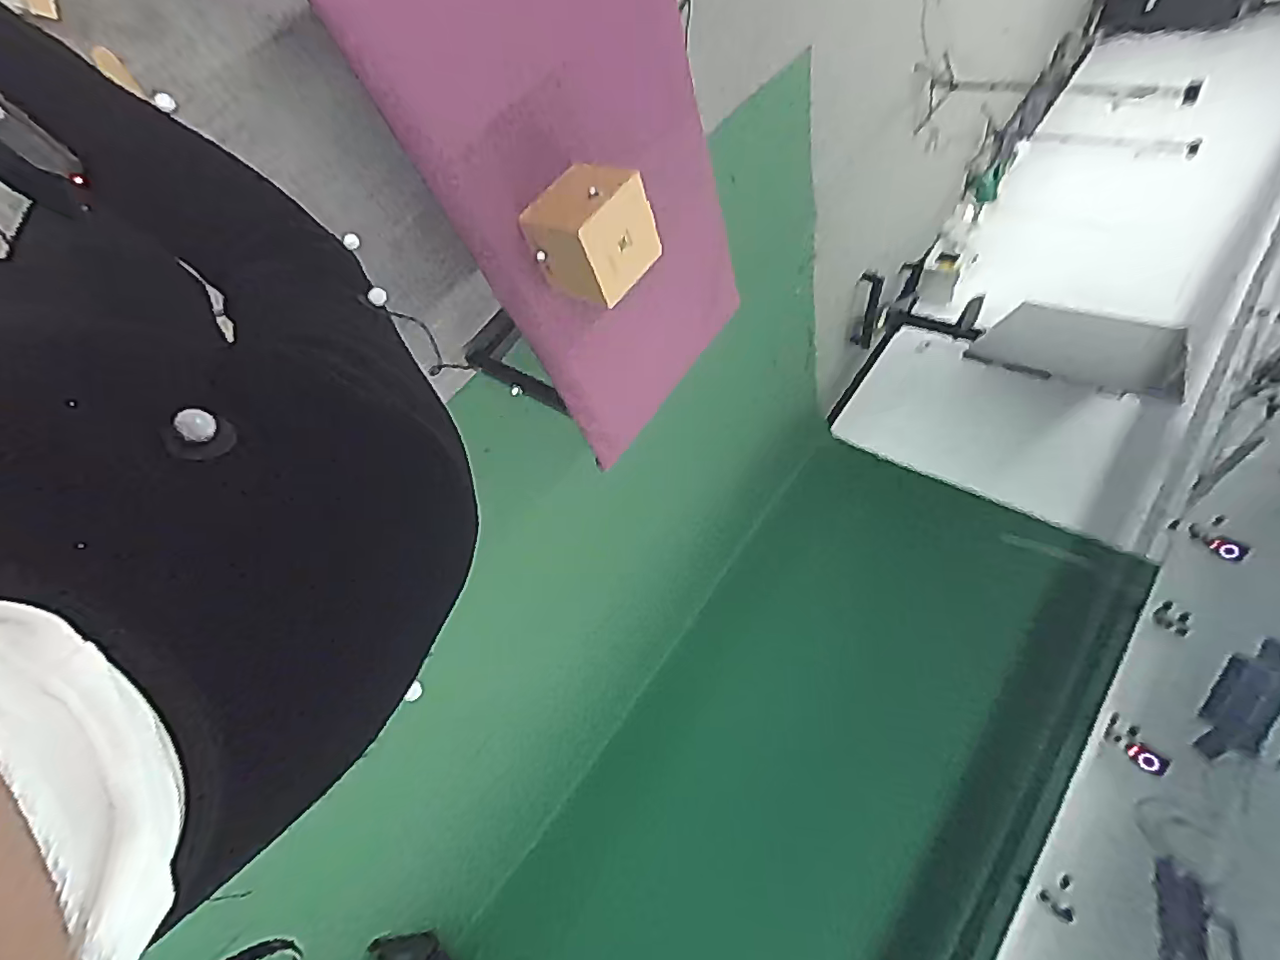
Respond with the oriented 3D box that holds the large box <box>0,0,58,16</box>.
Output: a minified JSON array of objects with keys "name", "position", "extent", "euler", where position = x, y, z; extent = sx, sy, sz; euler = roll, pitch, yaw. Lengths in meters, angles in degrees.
[{"name":"large box","position":[-1.046,-0.811,0.637],"extent":[0.408,0.320,0.320],"euler":[-22,133,-46]}]

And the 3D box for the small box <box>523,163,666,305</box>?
[{"name":"small box","position":[-0.082,-0.462,1.007],"extent":[0.179,0.176,0.168],"euler":[-51,146,-17]}]
